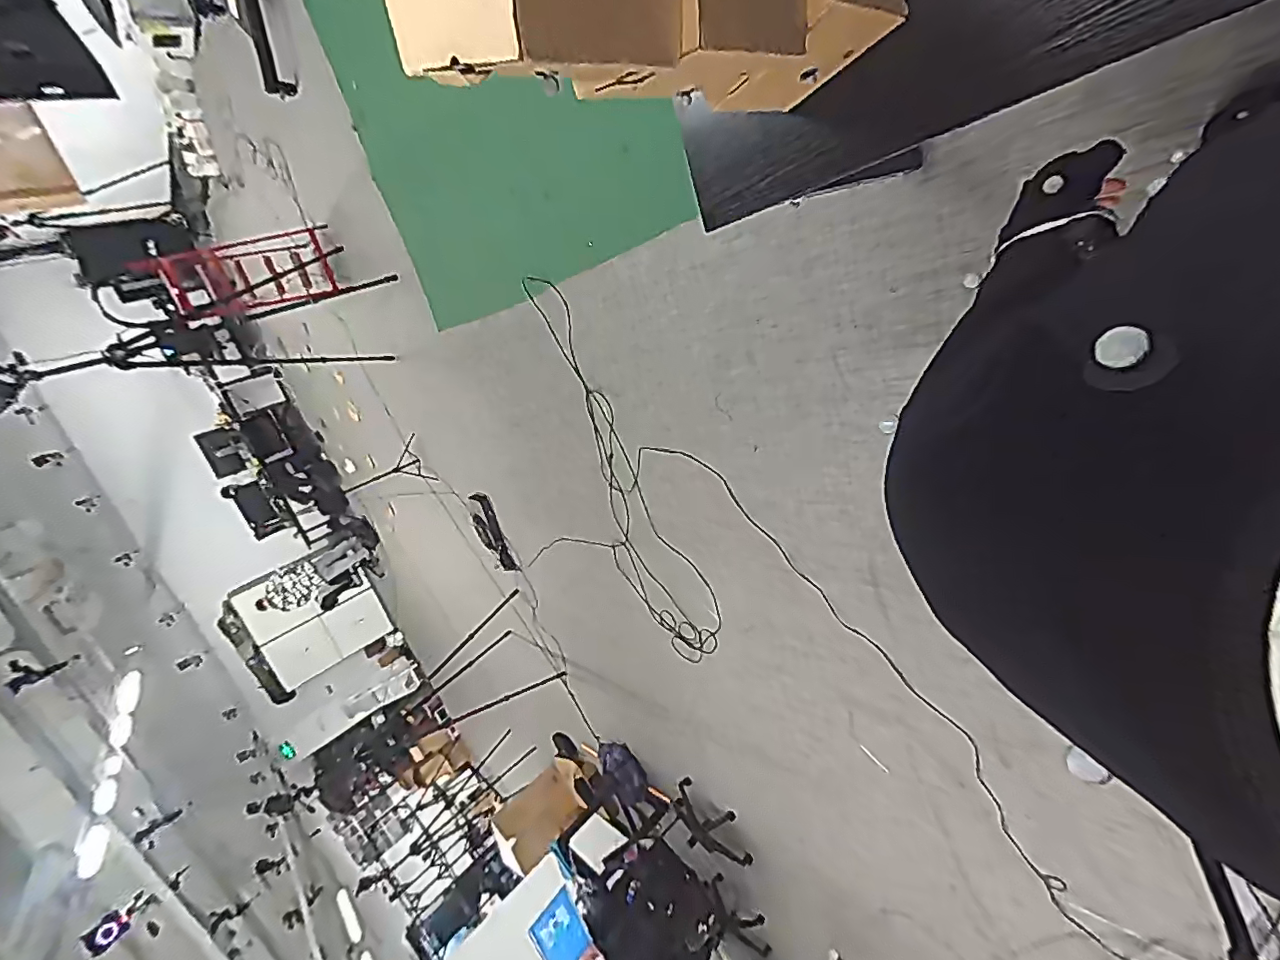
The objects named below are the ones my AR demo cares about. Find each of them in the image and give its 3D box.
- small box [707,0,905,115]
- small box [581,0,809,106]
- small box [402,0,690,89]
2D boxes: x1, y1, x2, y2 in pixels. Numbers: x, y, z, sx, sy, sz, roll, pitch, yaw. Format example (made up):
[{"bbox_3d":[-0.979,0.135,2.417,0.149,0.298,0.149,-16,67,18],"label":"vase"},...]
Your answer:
[{"bbox_3d":[0.161,-0.541,0.599,0.168,0.176,0.179,-10,107,52],"label":"small box"},{"bbox_3d":[0.045,-0.472,0.505,0.168,0.176,0.179,17,127,42],"label":"small box"},{"bbox_3d":[-0.073,-0.409,0.409,0.168,0.176,0.179,27,135,35],"label":"small box"}]
